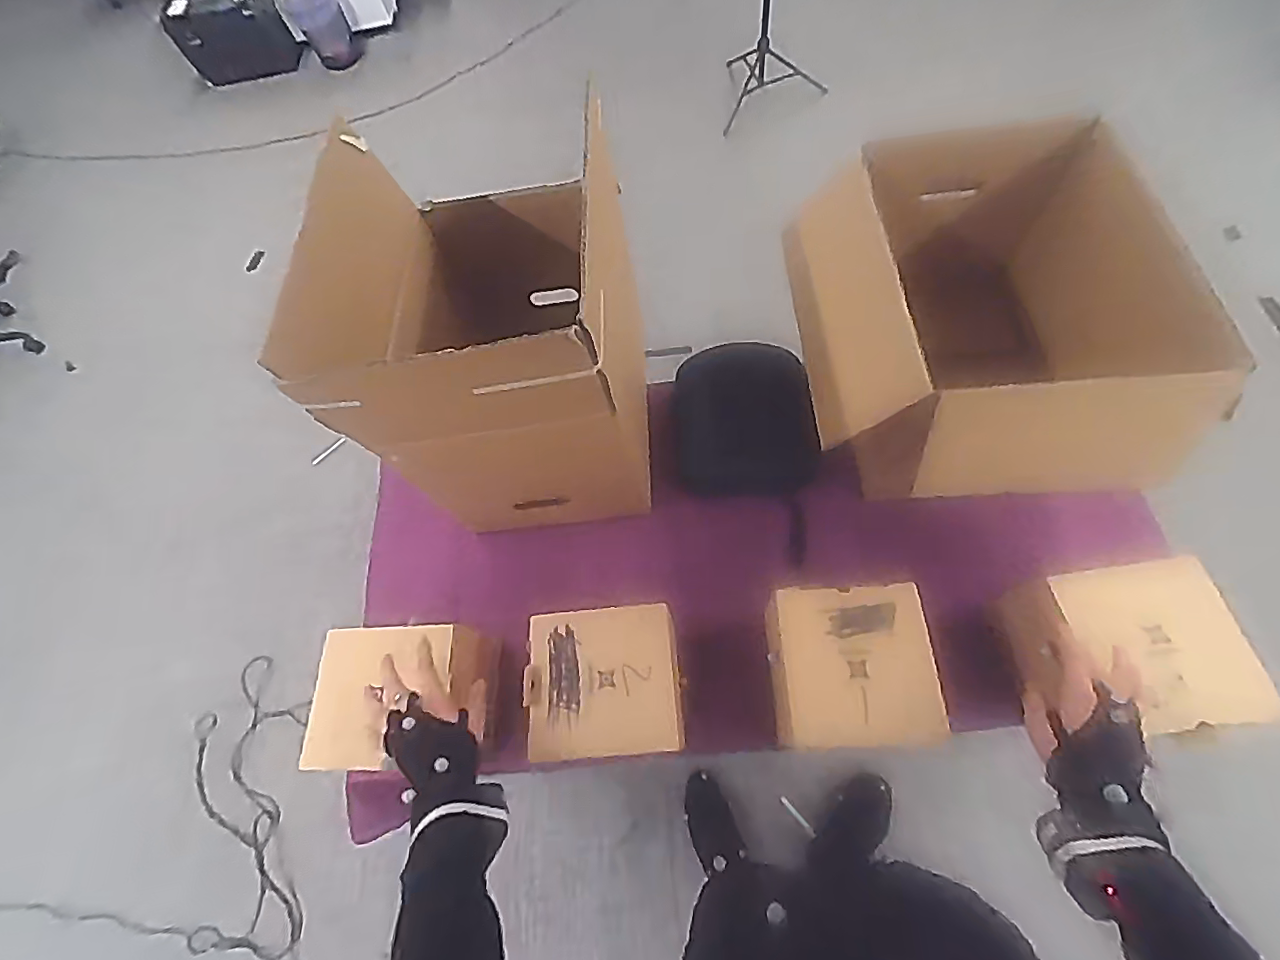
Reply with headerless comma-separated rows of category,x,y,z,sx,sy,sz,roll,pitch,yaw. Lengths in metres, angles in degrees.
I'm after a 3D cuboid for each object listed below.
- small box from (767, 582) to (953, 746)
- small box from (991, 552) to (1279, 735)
small box,0.257,0.237,0.683,0.168,0.176,0.179,-4,66,6
small box,0.567,0.204,0.652,0.168,0.176,0.179,-10,65,5
